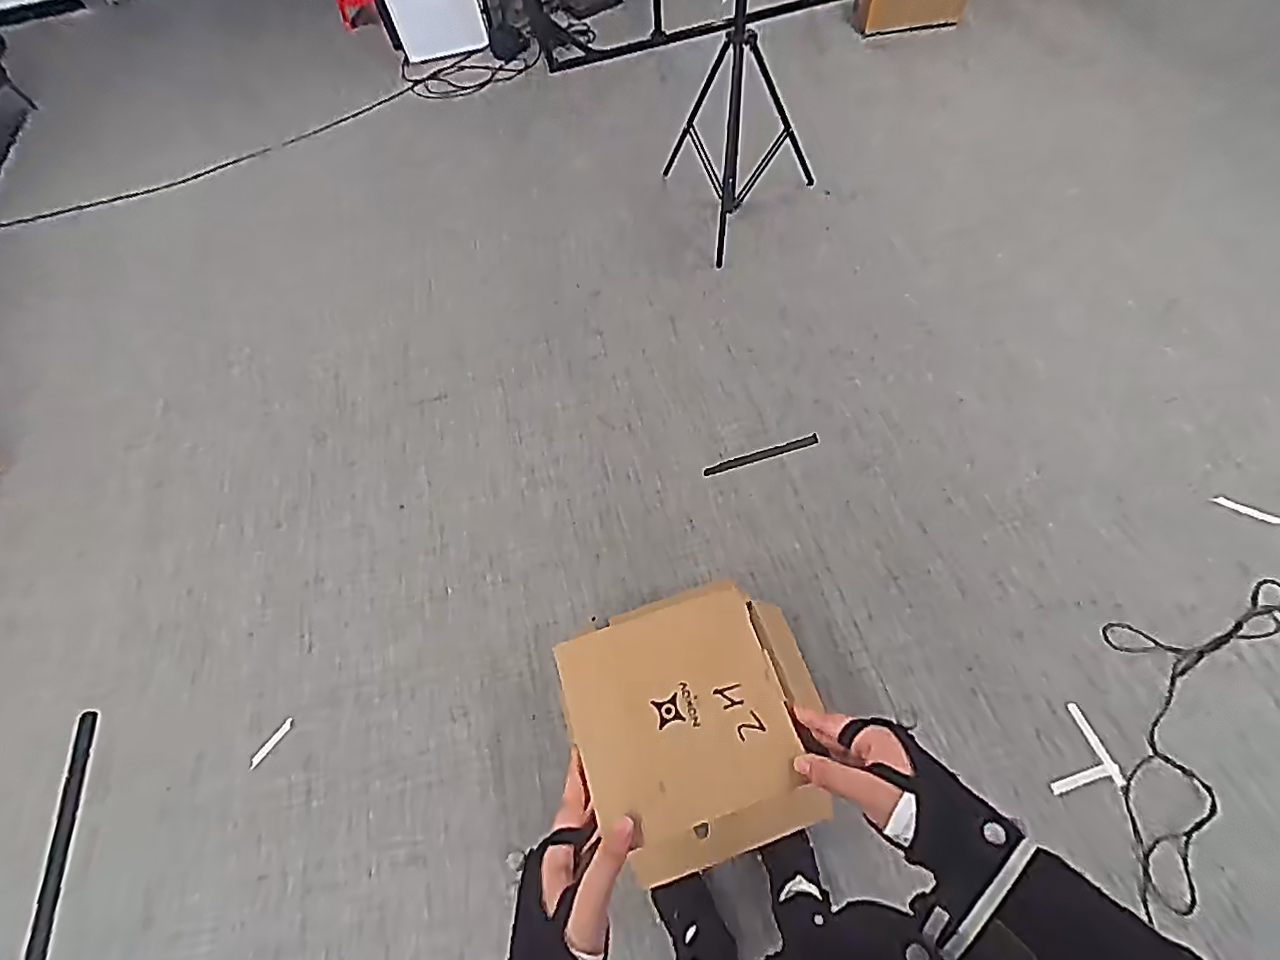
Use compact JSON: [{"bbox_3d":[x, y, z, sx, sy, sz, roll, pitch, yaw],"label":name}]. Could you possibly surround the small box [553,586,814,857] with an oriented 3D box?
[{"bbox_3d":[0.033,0.220,0.511,0.179,0.176,0.168,-17,67,-7],"label":"small box"}]
